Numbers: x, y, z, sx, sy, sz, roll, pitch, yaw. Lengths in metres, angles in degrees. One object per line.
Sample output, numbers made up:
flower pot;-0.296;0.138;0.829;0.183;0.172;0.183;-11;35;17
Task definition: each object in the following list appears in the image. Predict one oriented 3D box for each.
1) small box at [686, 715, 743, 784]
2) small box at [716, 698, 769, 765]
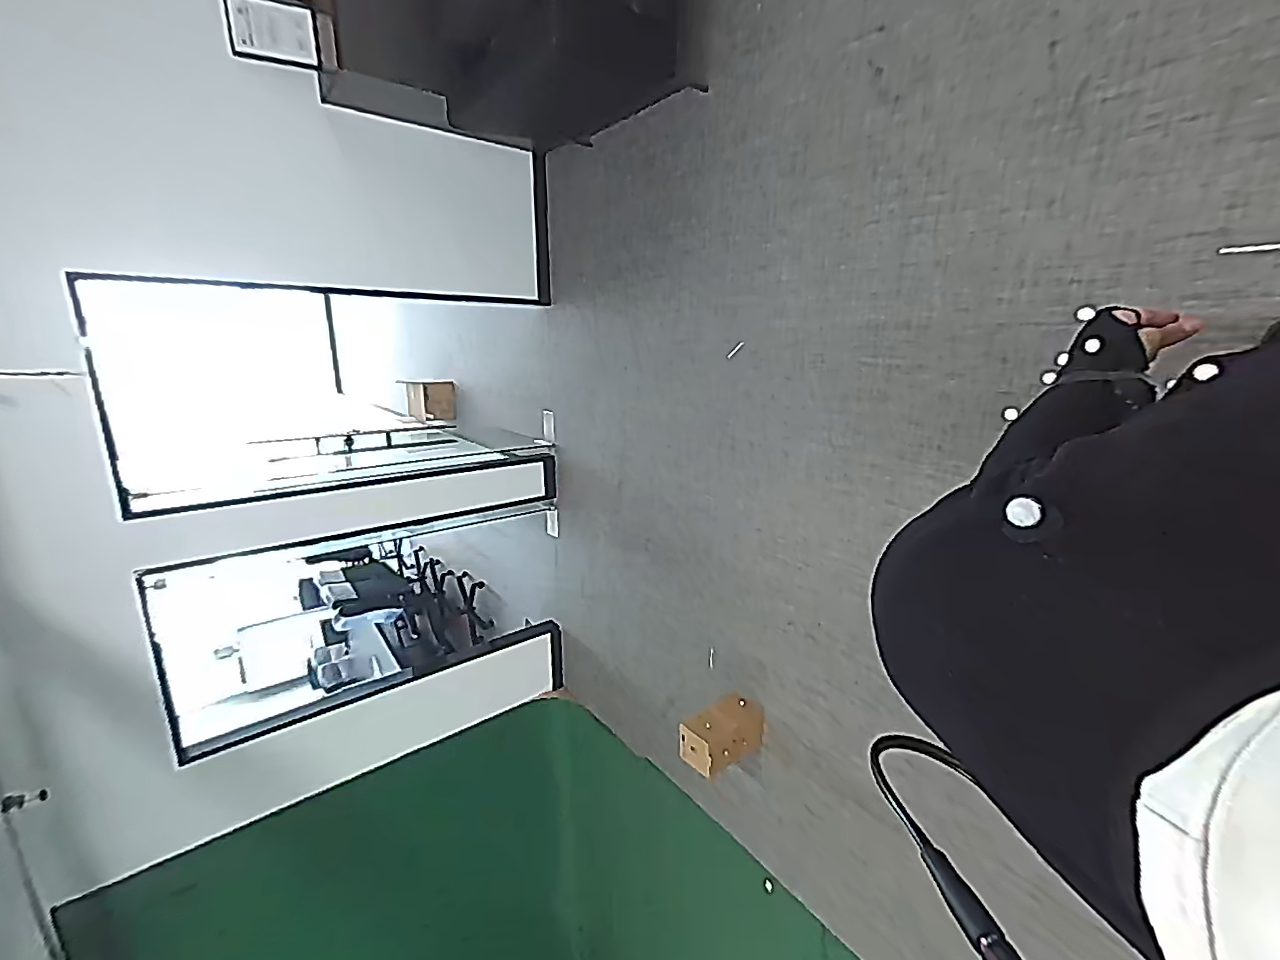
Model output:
small box;0.311;1.107;2.243;0.179;0.176;0.168;12;107;51
small box;0.441;1.081;2.339;0.168;0.176;0.179;16;110;50
